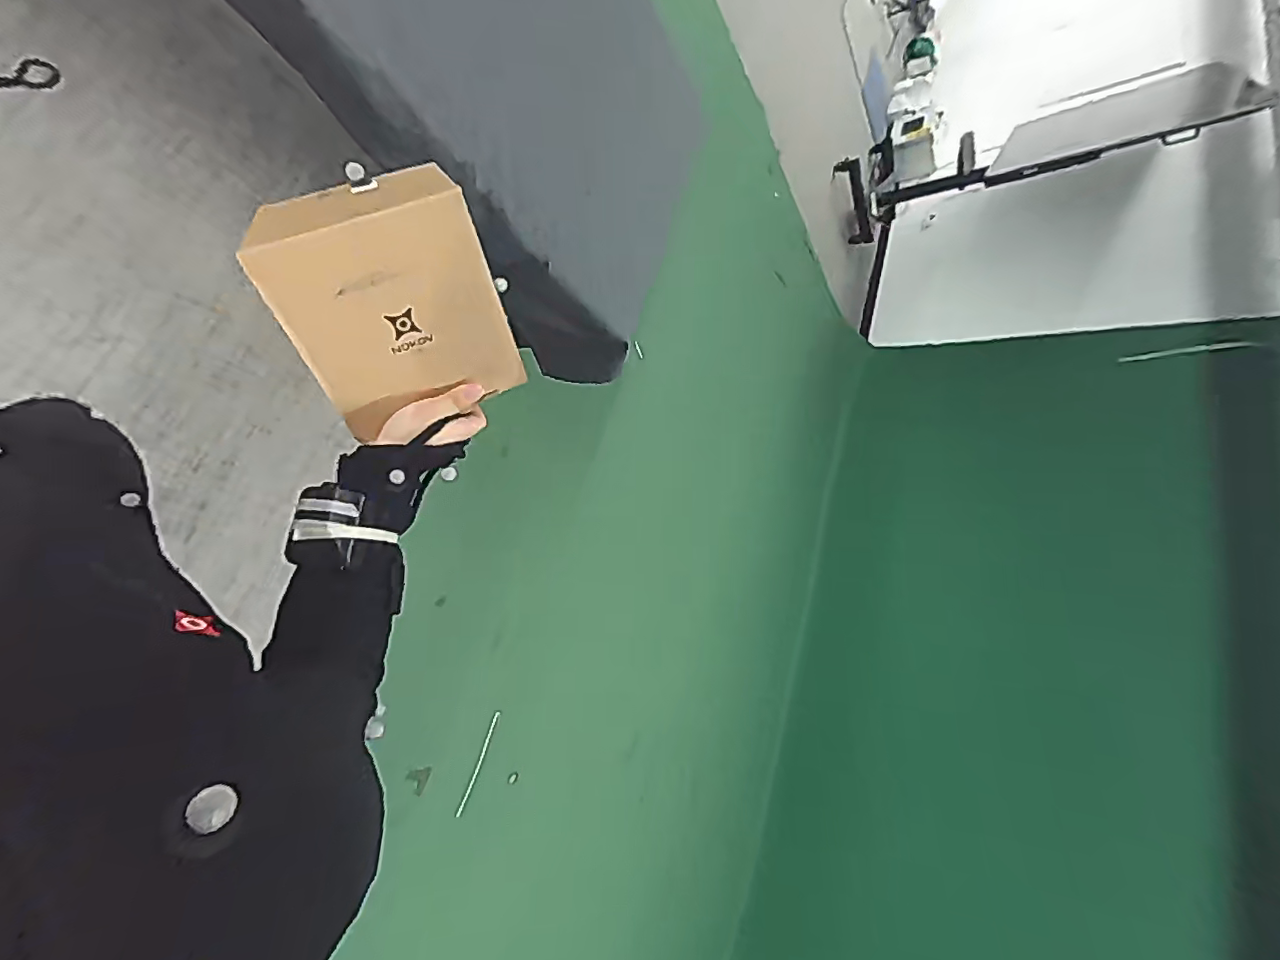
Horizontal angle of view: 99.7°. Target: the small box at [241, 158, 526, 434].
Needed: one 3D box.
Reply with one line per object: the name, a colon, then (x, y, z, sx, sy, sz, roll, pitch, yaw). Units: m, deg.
small box: (-0.229, -0.179, 0.510, 0.168, 0.176, 0.179, -25, 132, -13)
